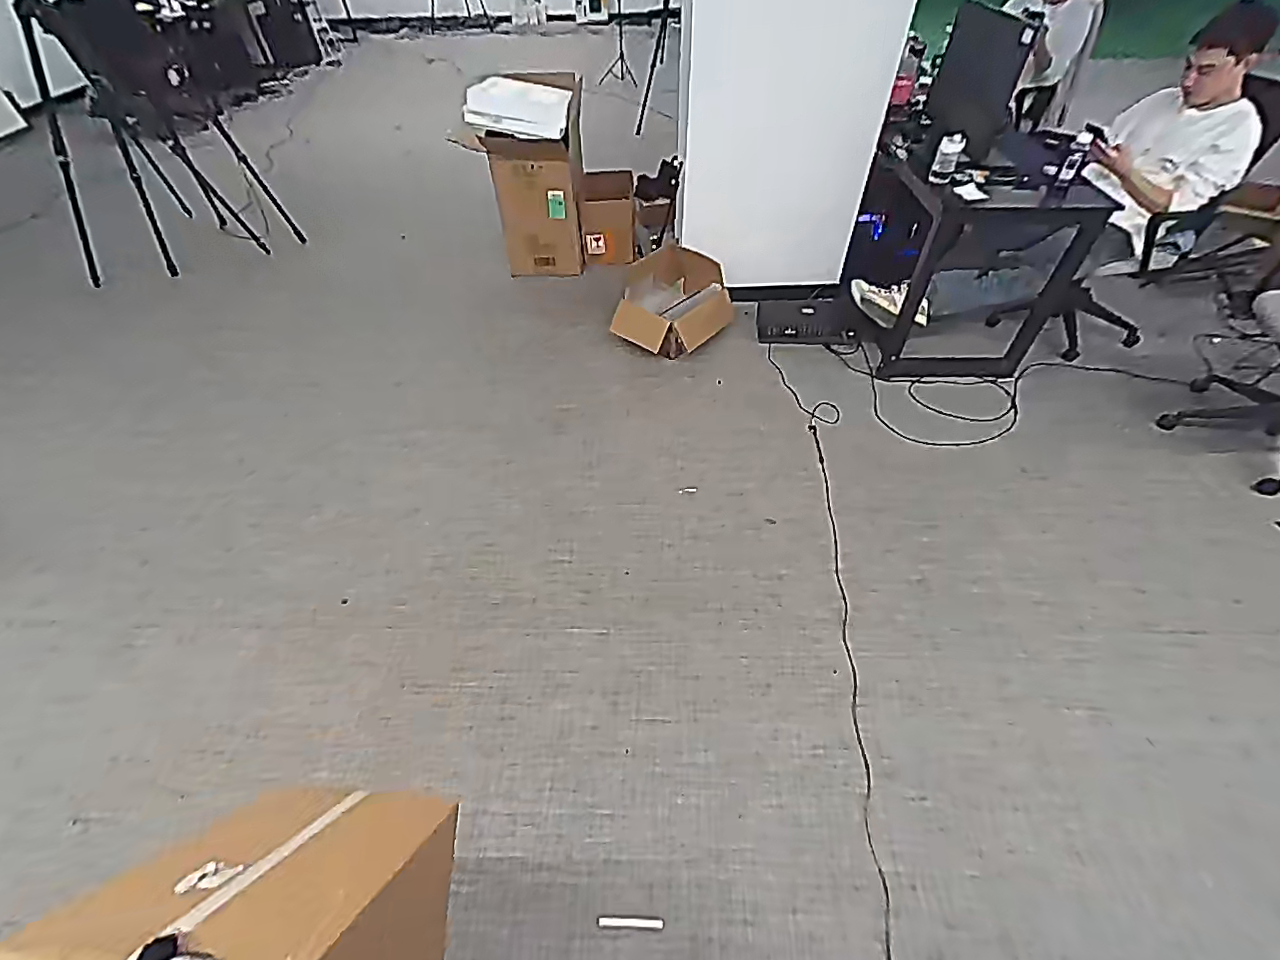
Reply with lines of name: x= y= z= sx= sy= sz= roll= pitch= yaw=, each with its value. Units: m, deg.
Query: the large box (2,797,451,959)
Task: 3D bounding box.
large box: x=-0.476 y=0.656 z=0.678 sx=0.320 sy=0.408 sz=0.320 roll=2 pitch=81 yaw=3
